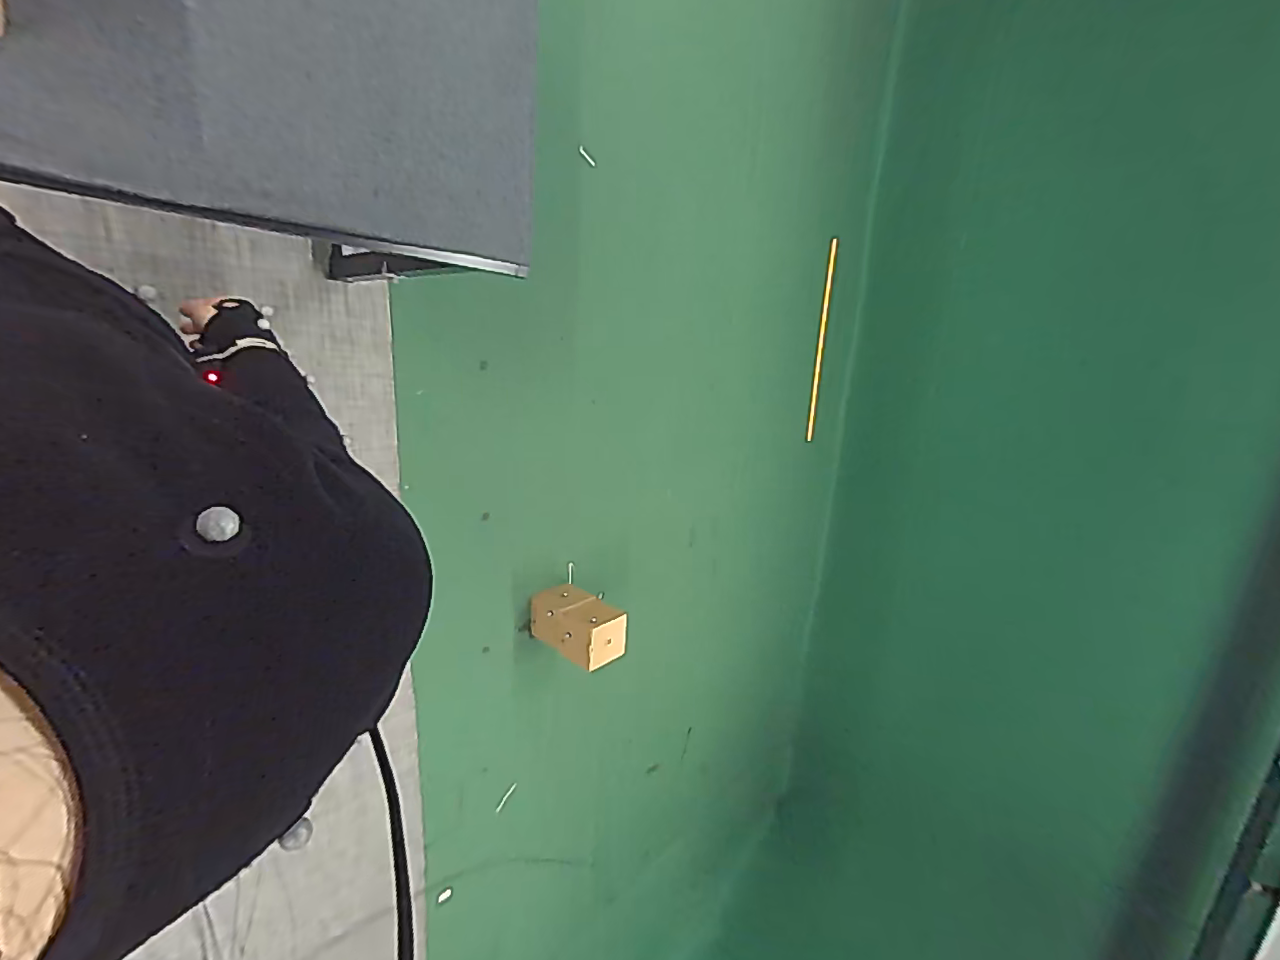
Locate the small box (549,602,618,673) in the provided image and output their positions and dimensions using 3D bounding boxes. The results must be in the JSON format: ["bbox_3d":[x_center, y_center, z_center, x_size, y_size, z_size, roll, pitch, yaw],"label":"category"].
[{"bbox_3d":[-0.202,0.556,1.939,0.179,0.176,0.168,-12,111,-48],"label":"small box"}]
